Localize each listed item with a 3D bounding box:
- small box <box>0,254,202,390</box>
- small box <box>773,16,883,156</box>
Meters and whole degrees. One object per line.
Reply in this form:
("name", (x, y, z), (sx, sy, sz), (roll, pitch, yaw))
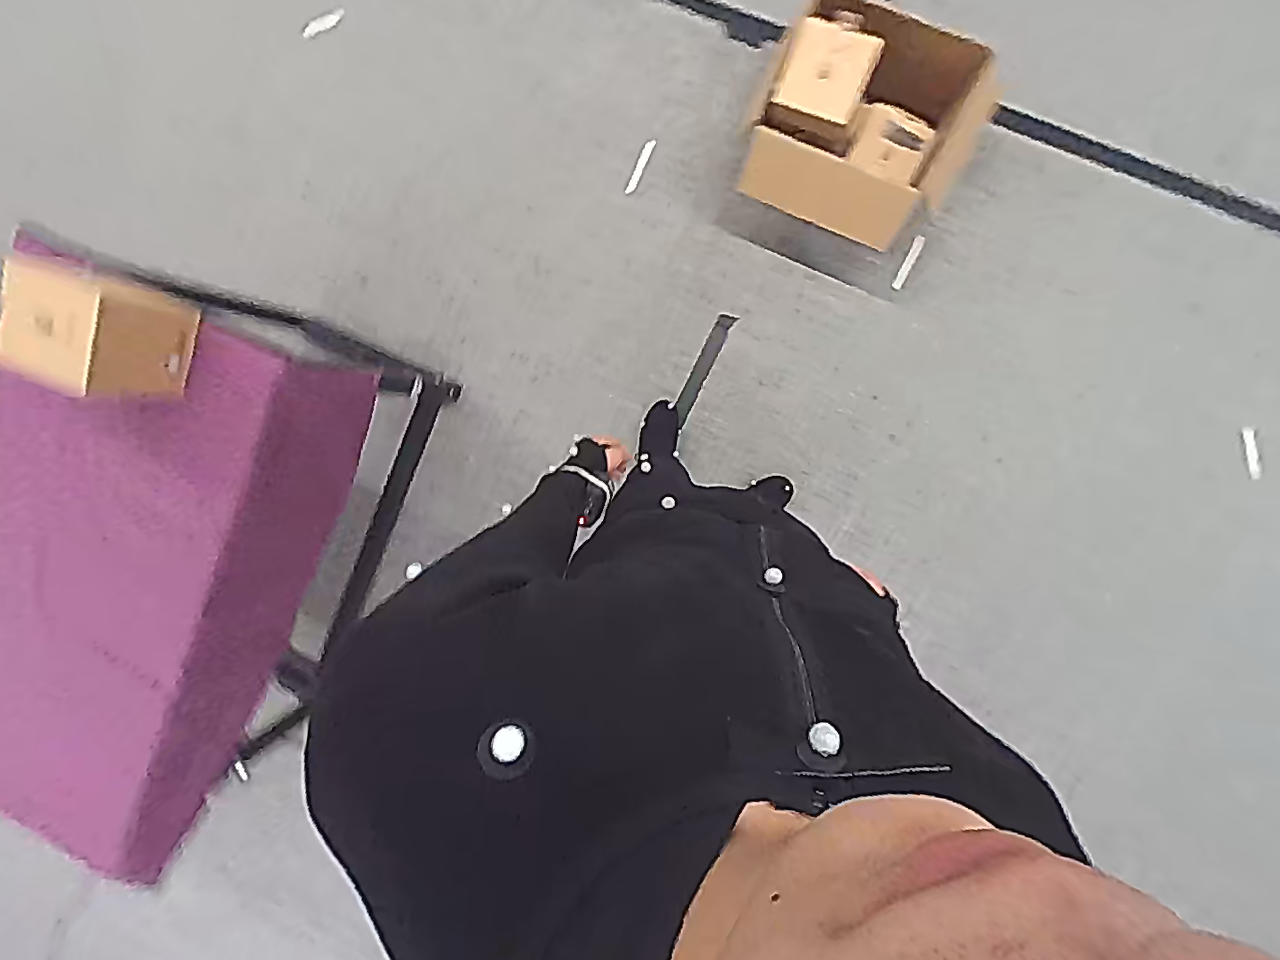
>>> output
("small box", (-0.913, -0.258, 0.925), (0.179, 0.176, 0.168), (22, 100, 6))
("small box", (0.413, -0.876, 1.223), (0.168, 0.176, 0.179), (25, 100, 4))
